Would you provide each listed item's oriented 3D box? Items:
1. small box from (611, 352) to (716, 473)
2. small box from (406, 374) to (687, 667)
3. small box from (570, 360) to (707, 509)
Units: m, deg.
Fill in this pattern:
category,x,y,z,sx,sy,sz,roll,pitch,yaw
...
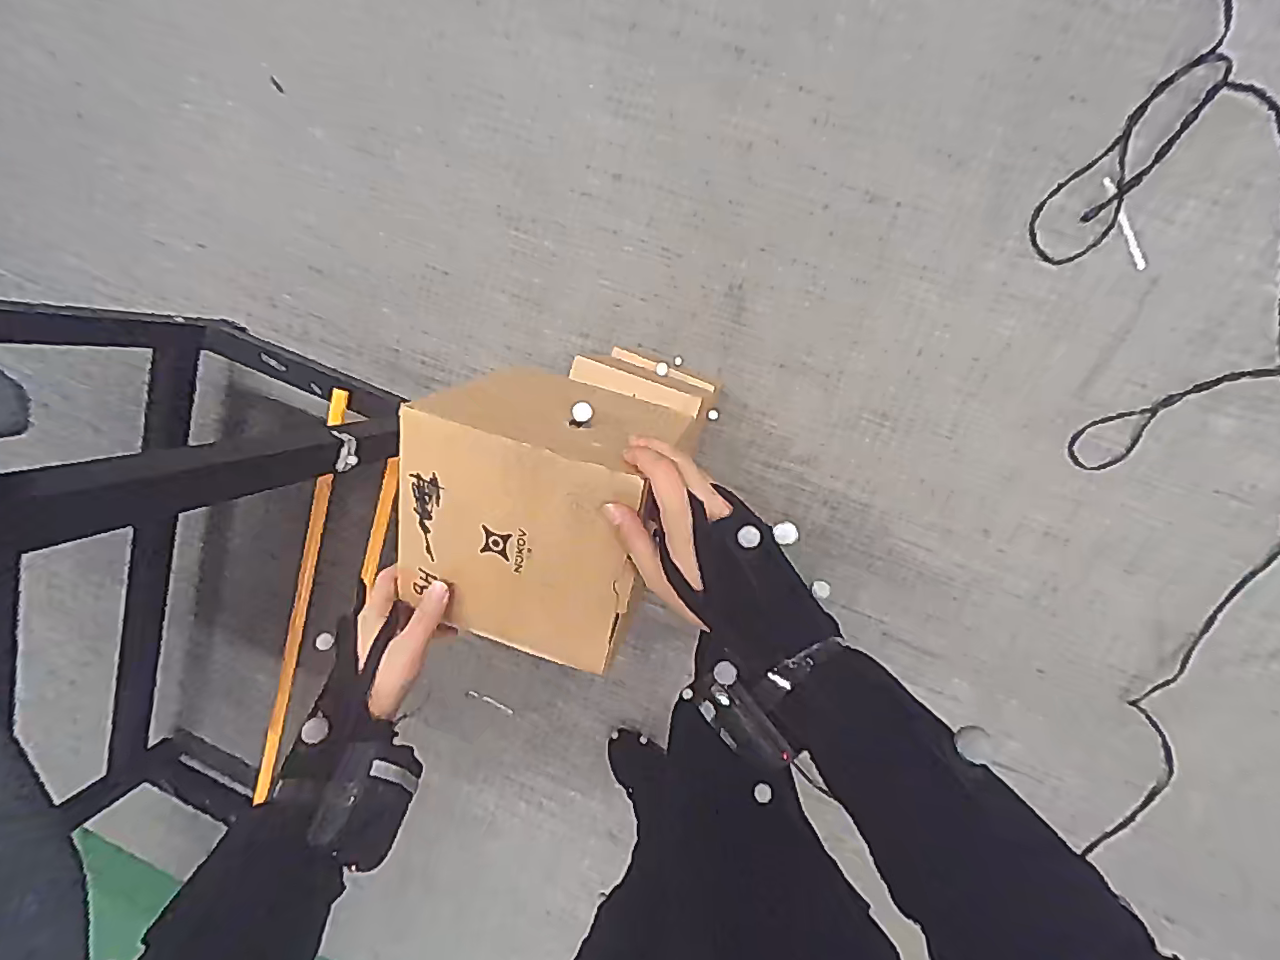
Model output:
category,x,y,z,sx,sy,sz,roll,pitch,yaw
small box,0.021,-0.100,0.901,0.168,0.176,0.179,23,105,7
small box,-0.068,0.018,0.457,0.179,0.176,0.168,17,113,8
small box,-0.013,-0.055,0.746,0.168,0.176,0.179,21,104,7
